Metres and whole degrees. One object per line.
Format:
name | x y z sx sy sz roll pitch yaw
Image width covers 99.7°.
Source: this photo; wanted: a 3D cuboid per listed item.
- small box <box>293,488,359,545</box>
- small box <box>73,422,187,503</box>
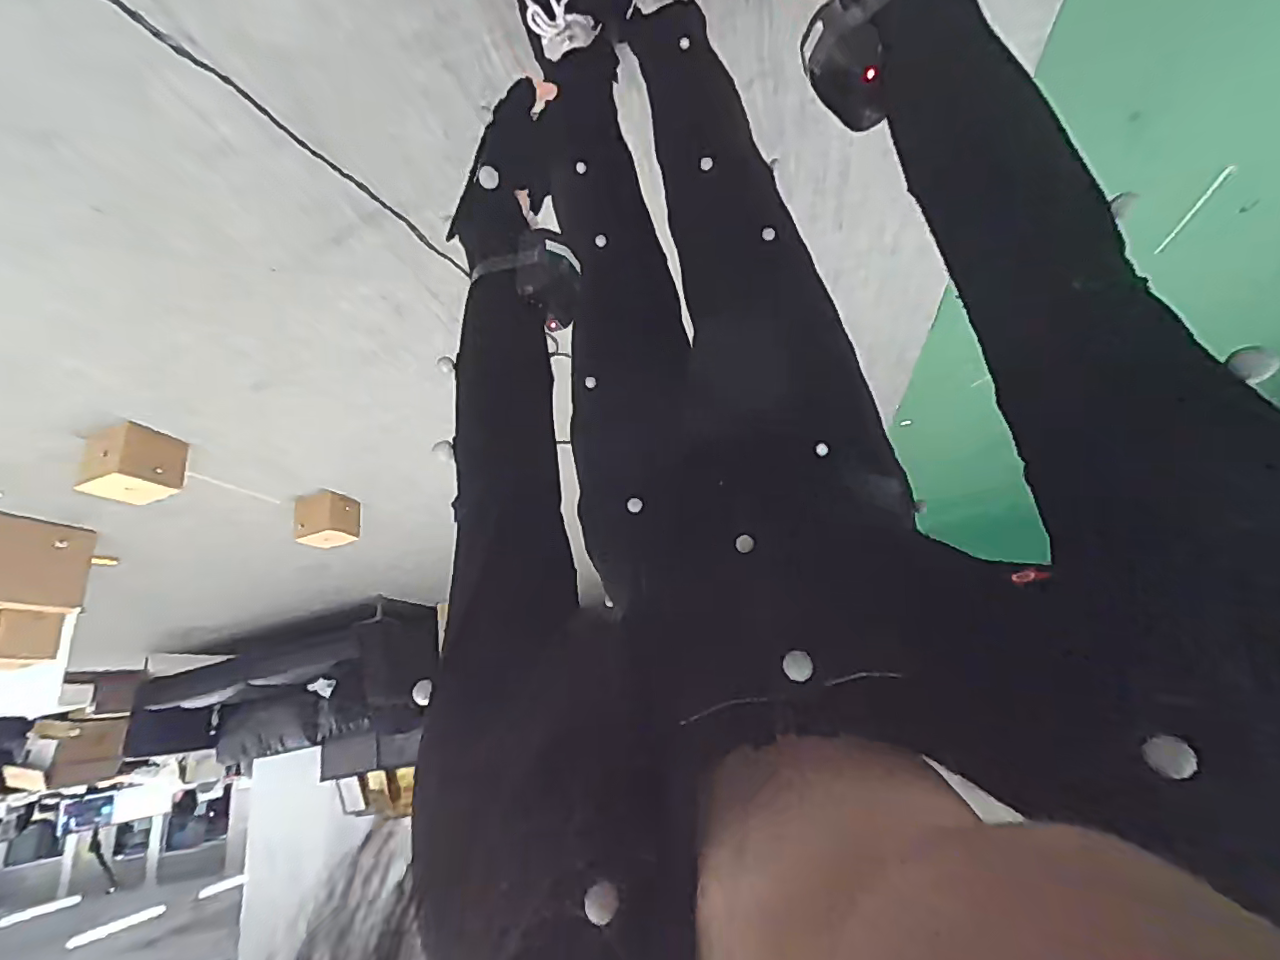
small box | -1.265 0.151 2.192 0.179 0.176 0.168 -16 159 12
small box | -1.471 -0.053 1.570 0.168 0.176 0.179 -16 159 12
